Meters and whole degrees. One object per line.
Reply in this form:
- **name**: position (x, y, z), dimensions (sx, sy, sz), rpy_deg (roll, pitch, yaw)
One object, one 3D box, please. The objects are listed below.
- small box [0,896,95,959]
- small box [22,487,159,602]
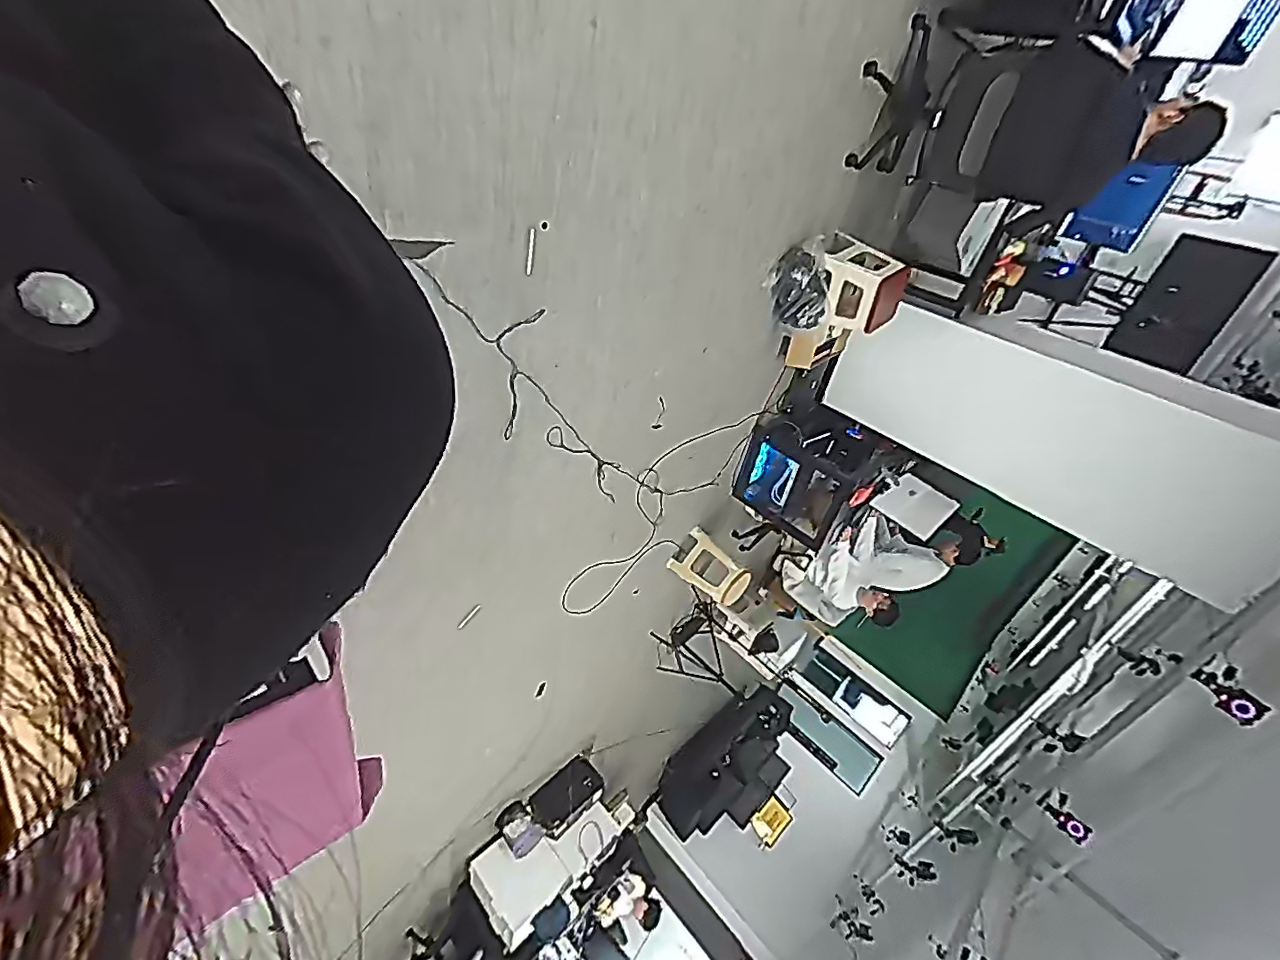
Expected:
- **small box**: position (-0.965, 0.808, 0.840), dimensions (0.168, 0.176, 0.179), rpy_deg (-9, 127, -50)
- **small box**: position (-1.238, 0.136, 1.222), dimensions (0.179, 0.176, 0.168), rpy_deg (-20, 134, -43)
